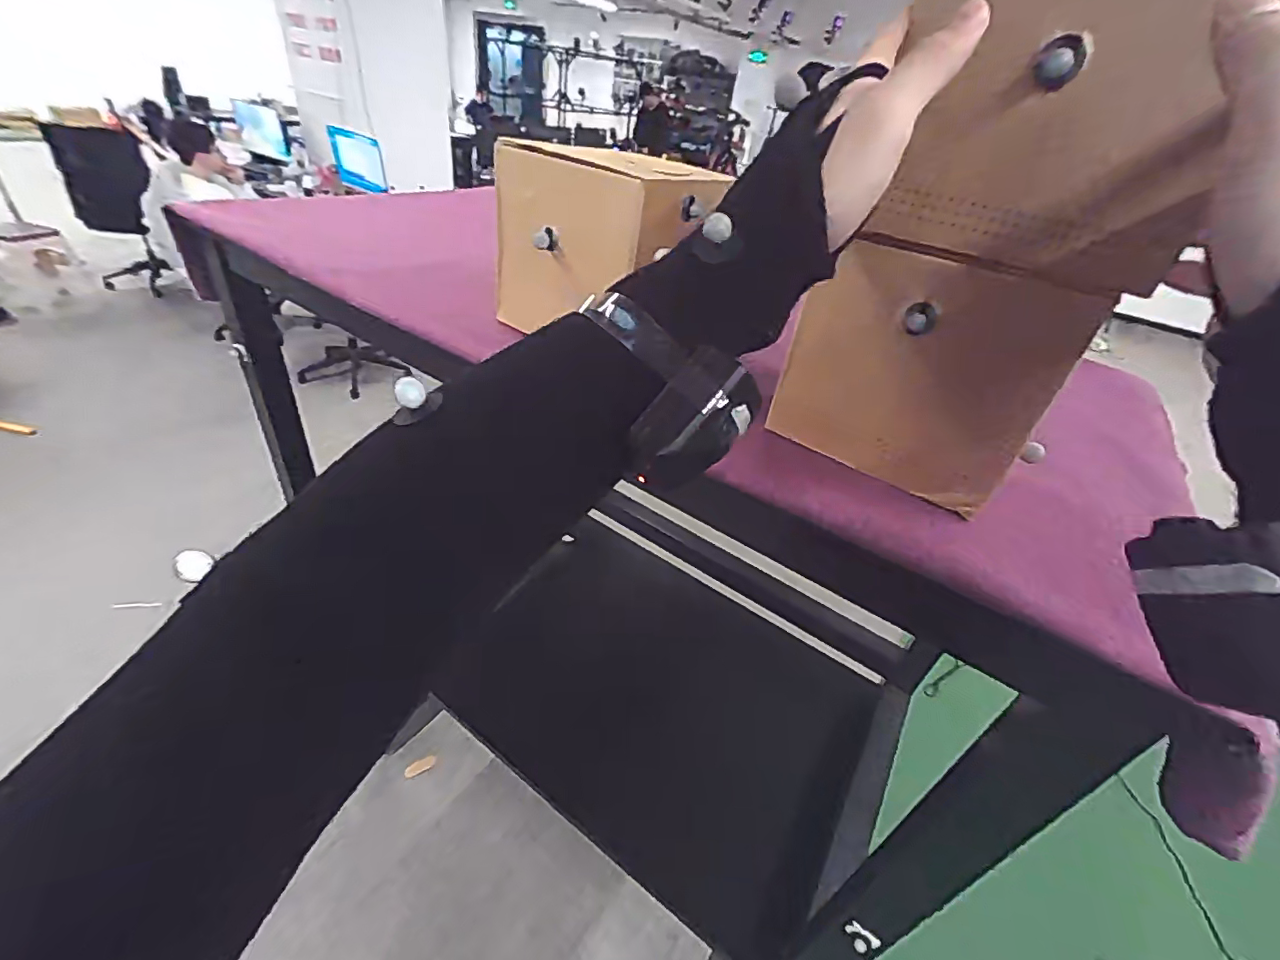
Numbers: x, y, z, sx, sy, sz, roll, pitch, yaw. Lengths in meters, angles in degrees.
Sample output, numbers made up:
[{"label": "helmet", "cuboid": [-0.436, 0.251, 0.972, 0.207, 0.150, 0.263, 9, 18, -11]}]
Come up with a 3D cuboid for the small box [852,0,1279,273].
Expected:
[{"label": "small box", "cuboid": [0.250, -0.232, 0.300, 0.179, 0.176, 0.168, 27, 46, 21]}]

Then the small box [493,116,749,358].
[{"label": "small box", "cuboid": [-0.026, -0.237, 0.530, 0.179, 0.176, 0.168, 31, 40, 26]}]

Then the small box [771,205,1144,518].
[{"label": "small box", "cuboid": [0.226, -0.100, 0.411, 0.179, 0.176, 0.168, 32, 43, 27]}]
